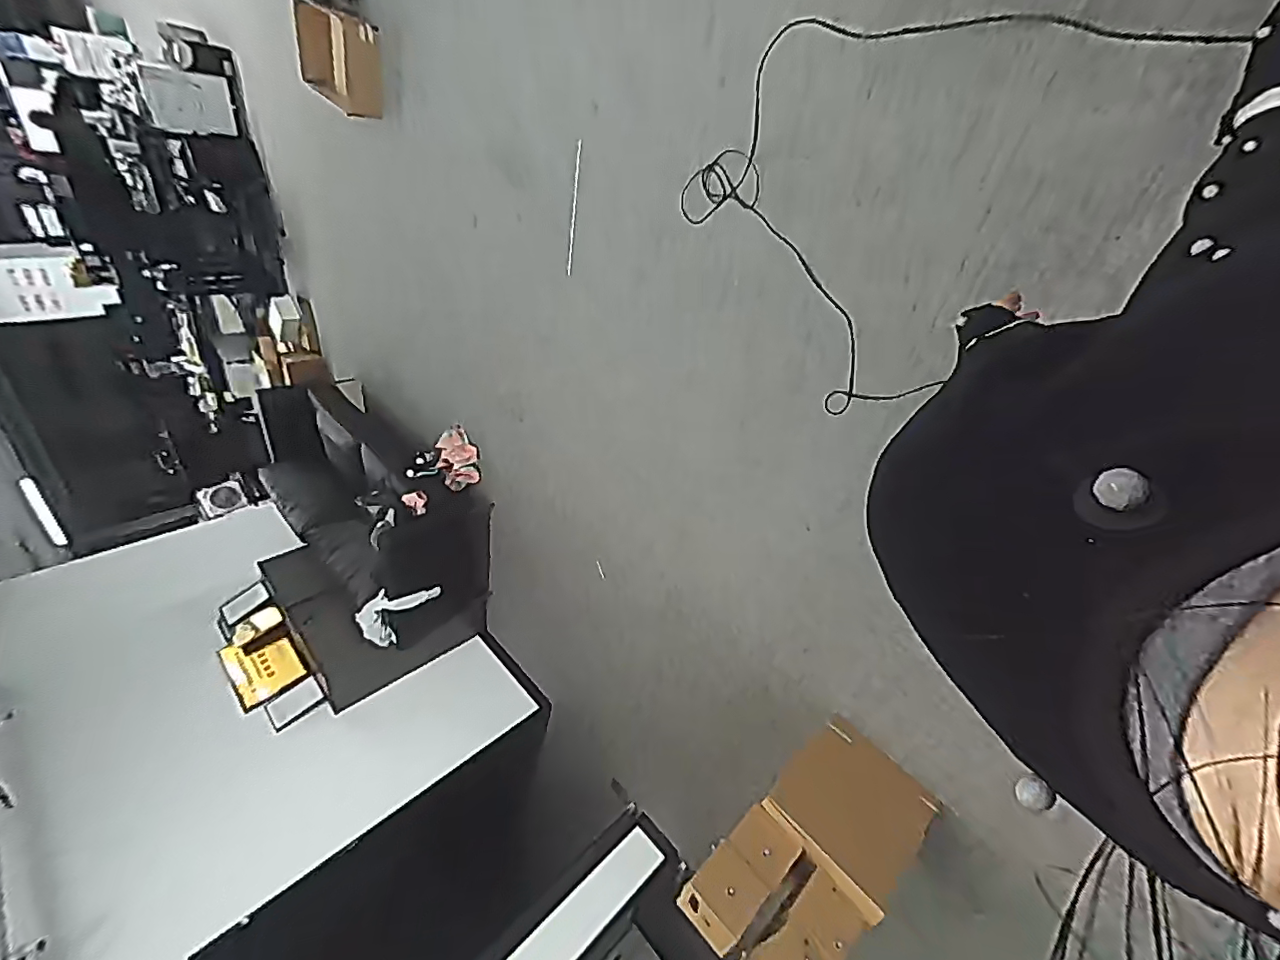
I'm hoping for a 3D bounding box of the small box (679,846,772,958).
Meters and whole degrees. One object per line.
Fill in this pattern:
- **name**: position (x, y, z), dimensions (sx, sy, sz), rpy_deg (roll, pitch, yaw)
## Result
- **small box**: position (0.245, 1.196, 1.551), dimensions (0.179, 0.176, 0.168), rpy_deg (36, 131, 29)
